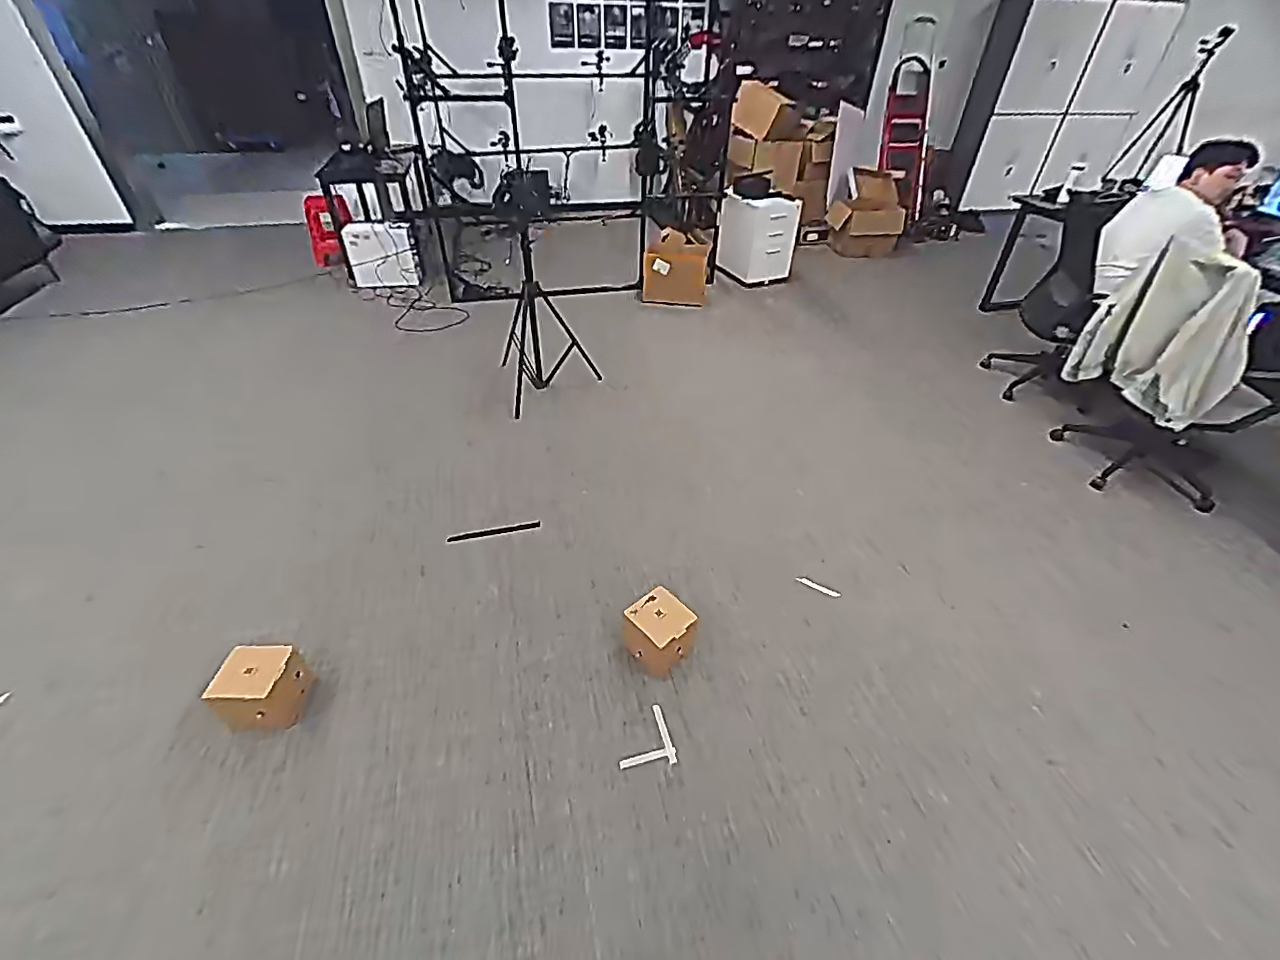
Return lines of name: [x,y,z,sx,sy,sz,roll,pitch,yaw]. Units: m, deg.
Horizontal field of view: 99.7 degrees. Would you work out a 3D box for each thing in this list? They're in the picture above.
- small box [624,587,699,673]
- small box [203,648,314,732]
small box: [0.066,0.482,1.715,0.168,0.176,0.179,-29,49,-31]
small box: [-1.078,0.602,1.548,0.179,0.176,0.168,-1,38,-1]
